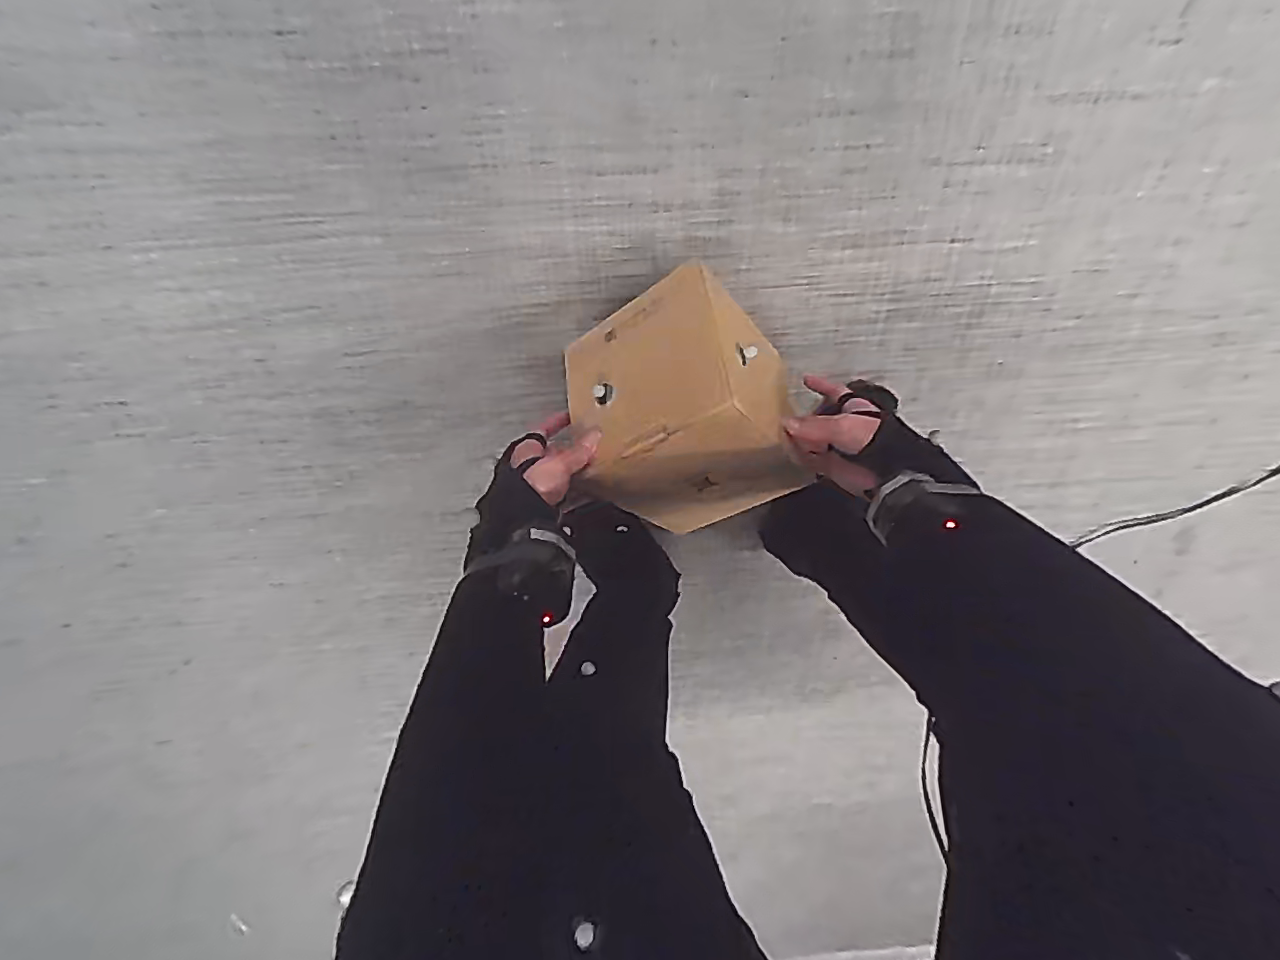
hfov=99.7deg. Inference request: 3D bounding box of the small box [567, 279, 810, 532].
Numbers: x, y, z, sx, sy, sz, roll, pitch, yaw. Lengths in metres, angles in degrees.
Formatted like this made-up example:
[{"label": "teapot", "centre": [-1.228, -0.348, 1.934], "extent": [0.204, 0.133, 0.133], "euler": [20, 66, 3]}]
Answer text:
[{"label": "small box", "centre": [0.043, -0.068, 0.537], "extent": [0.168, 0.176, 0.179], "euler": [-24, 150, 31]}]
